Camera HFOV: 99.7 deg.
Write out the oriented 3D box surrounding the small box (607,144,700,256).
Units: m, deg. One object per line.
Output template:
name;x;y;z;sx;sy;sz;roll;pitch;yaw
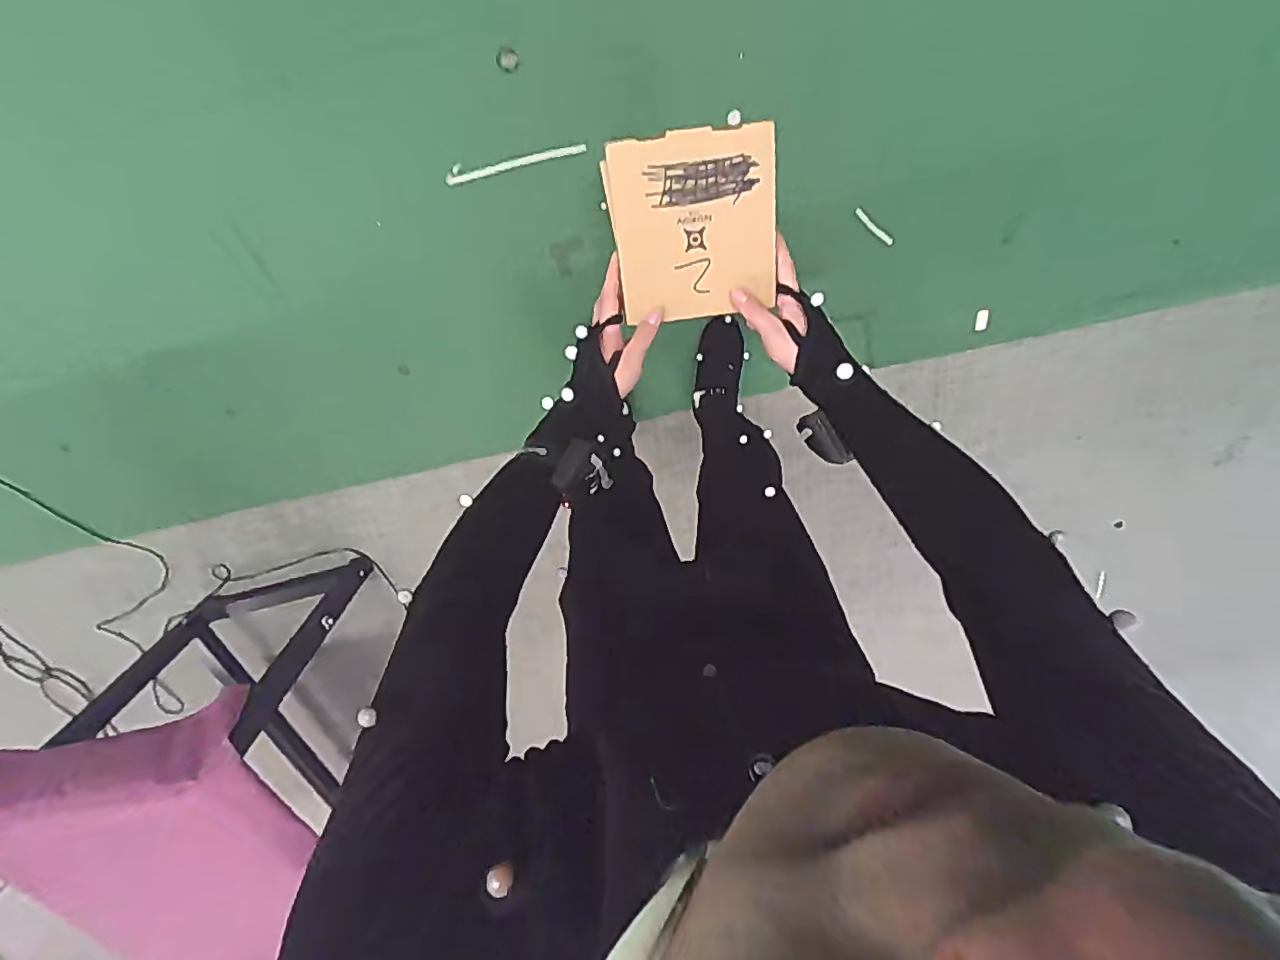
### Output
small box;0.027;-0.586;1.141;0.168;0.176;0.179;-10;117;5
